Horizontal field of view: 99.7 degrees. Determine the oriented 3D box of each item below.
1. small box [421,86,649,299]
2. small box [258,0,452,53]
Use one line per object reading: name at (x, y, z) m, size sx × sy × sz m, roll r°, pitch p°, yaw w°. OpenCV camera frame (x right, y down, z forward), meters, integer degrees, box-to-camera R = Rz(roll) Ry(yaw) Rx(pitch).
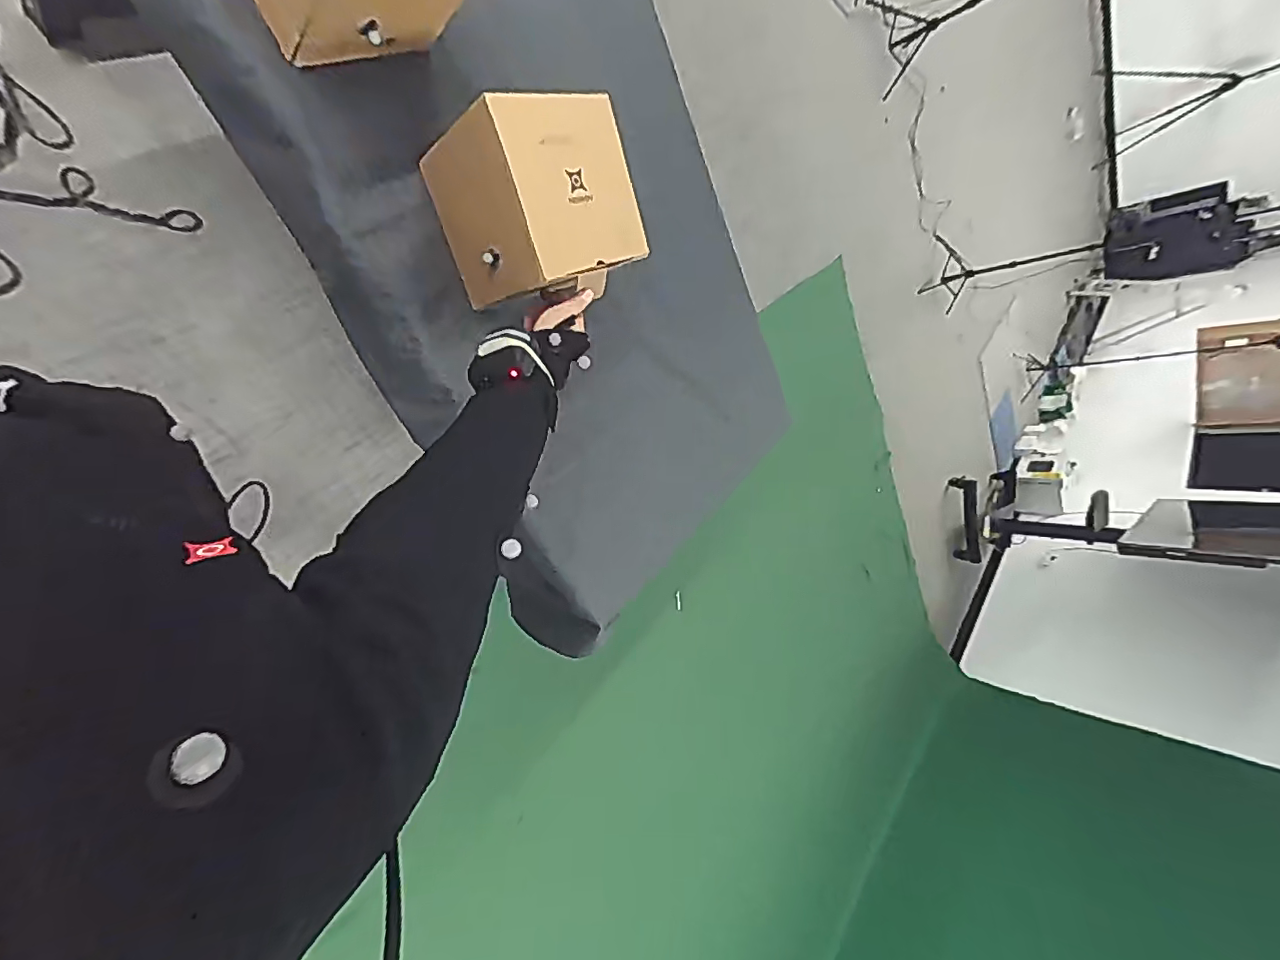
small box at (-0.122, -0.321, 0.632) m, size 0.168 × 0.176 × 0.179 m, roll -32°, pitch 113°, yaw -37°
small box at (-0.272, -0.529, 0.480) m, size 0.168 × 0.176 × 0.179 m, roll -42°, pitch 120°, yaw -34°
